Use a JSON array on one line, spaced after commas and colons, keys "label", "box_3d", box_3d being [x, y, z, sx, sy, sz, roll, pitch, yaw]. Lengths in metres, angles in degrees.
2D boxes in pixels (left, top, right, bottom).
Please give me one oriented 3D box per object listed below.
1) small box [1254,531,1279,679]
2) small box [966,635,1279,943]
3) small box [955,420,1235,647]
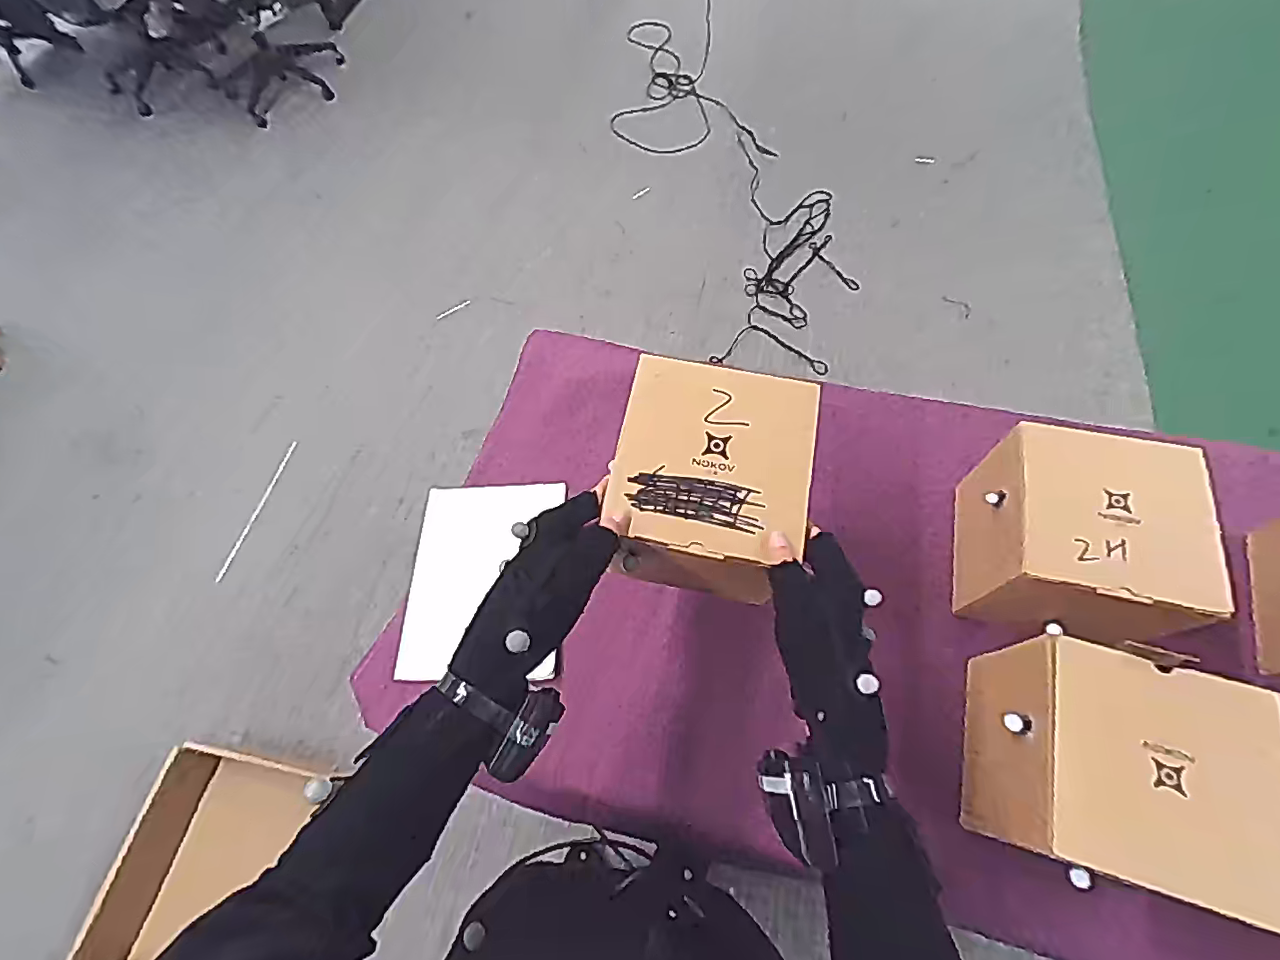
[{"label": "small box", "box_3d": [0.766, 0.127, 0.524, 0.168, 0.176, 0.179, 16, 66, 14]}, {"label": "small box", "box_3d": [0.424, 0.264, 0.495, 0.168, 0.176, 0.179, 15, 67, 13]}, {"label": "small box", "box_3d": [0.465, 0.064, 0.586, 0.168, 0.176, 0.179, 12, 66, 12]}]
